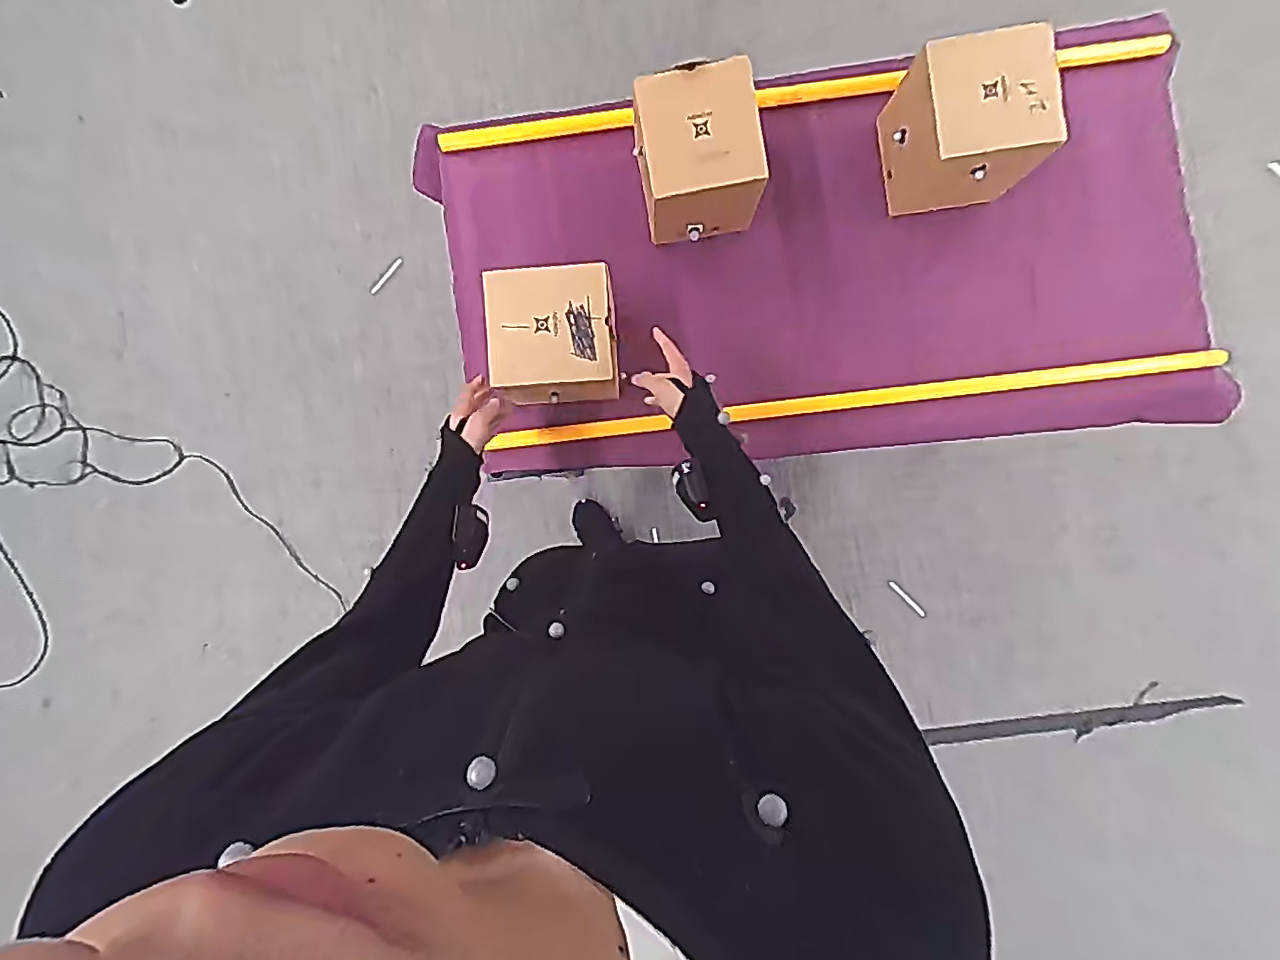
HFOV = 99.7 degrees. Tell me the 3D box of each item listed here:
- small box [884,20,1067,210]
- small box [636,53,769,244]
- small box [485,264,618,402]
[{"bbox_3d":[0.487,-0.533,0.816,0.179,0.176,0.168,-8,91,2],"label":"small box"},{"bbox_3d":[0.087,-0.493,0.828,0.168,0.176,0.179,-10,90,2],"label":"small box"},{"bbox_3d":[-0.124,-0.215,0.829,0.179,0.176,0.168,-4,90,1],"label":"small box"}]
